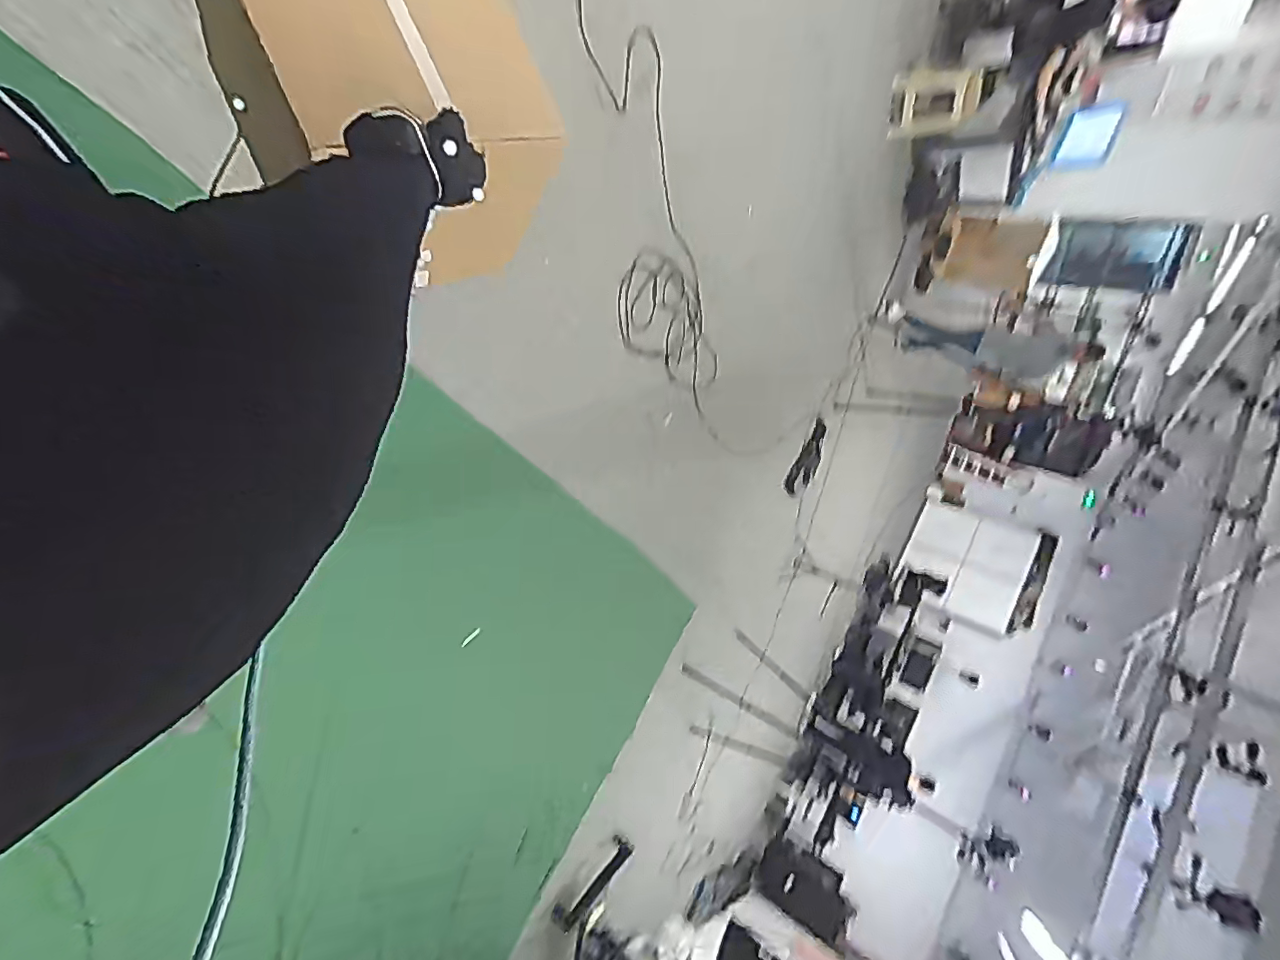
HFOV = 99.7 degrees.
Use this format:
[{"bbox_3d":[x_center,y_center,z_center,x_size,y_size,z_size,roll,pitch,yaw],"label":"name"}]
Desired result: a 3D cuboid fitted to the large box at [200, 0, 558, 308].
[{"bbox_3d":[-0.377,-0.523,0.775,0.320,0.320,0.408,-24,89,-33],"label":"large box"}]
